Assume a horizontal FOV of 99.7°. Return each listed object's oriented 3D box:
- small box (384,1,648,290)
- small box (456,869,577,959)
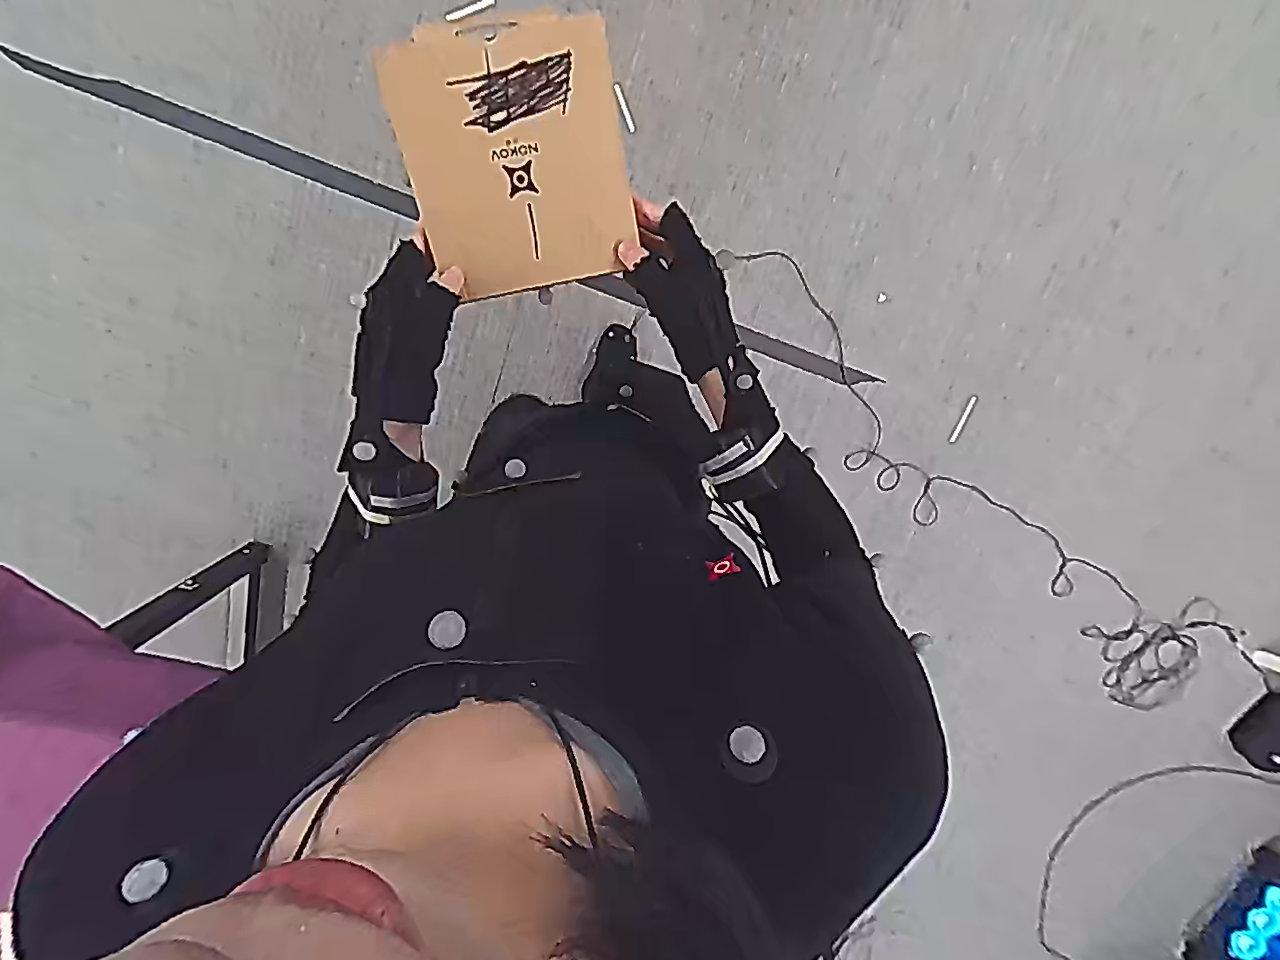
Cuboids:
[{"bbox_3d":[-0.098,-0.272,0.482,0.168,0.176,0.179,-12,111,-4],"label":"small box"},{"bbox_3d":[-0.206,0.783,0.890,0.179,0.176,0.168,10,106,-6],"label":"small box"}]
